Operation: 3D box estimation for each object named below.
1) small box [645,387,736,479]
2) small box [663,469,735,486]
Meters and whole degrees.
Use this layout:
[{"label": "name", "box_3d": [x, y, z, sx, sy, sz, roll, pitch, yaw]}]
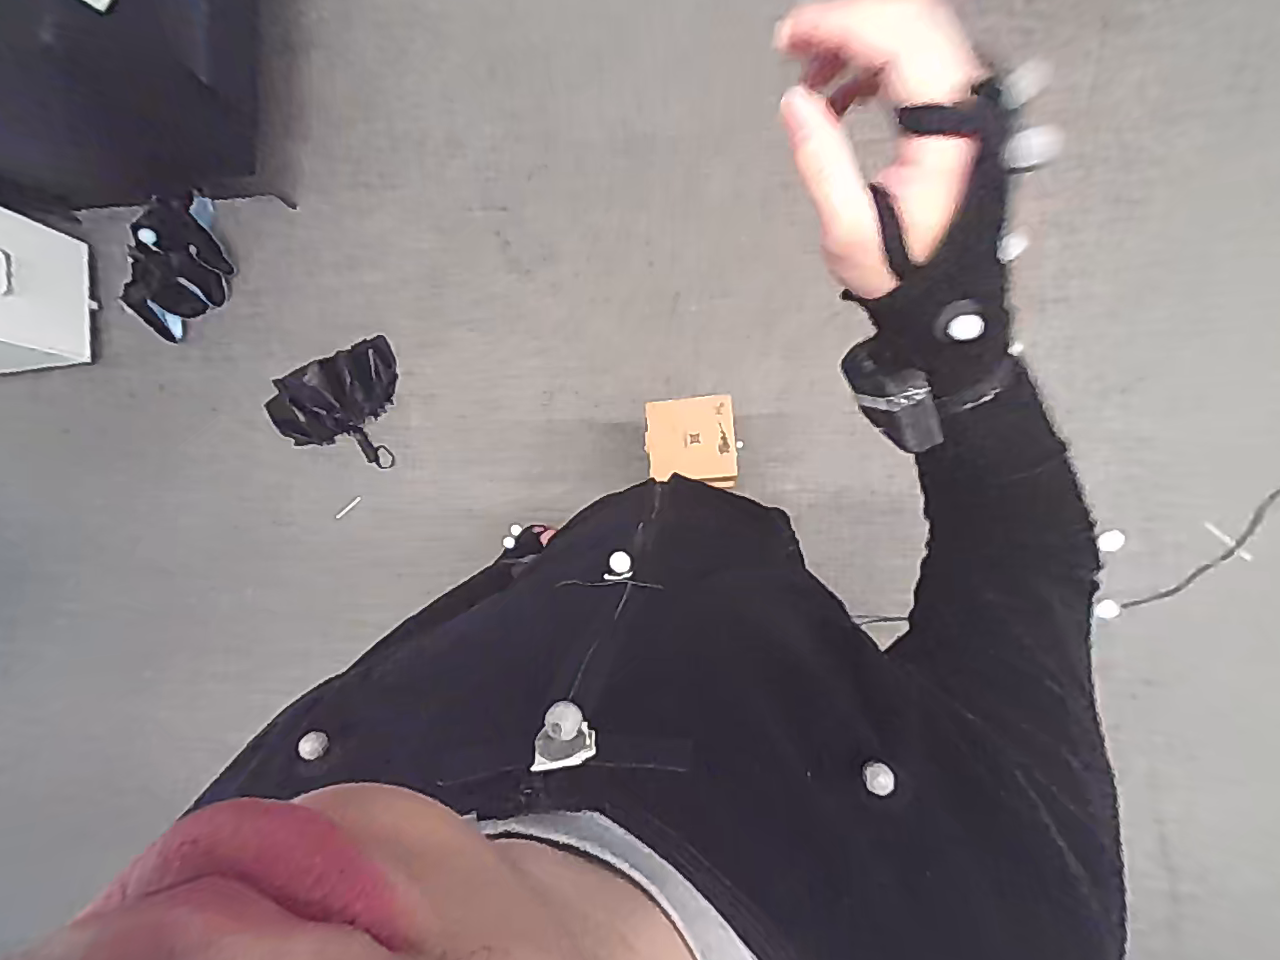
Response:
[{"label": "small box", "box_3d": [0.113, -0.094, 1.157, 0.179, 0.176, 0.168, -4, 86, 9]}, {"label": "small box", "box_3d": [0.141, -0.079, 1.318, 0.168, 0.176, 0.179, -4, 87, 9]}]
